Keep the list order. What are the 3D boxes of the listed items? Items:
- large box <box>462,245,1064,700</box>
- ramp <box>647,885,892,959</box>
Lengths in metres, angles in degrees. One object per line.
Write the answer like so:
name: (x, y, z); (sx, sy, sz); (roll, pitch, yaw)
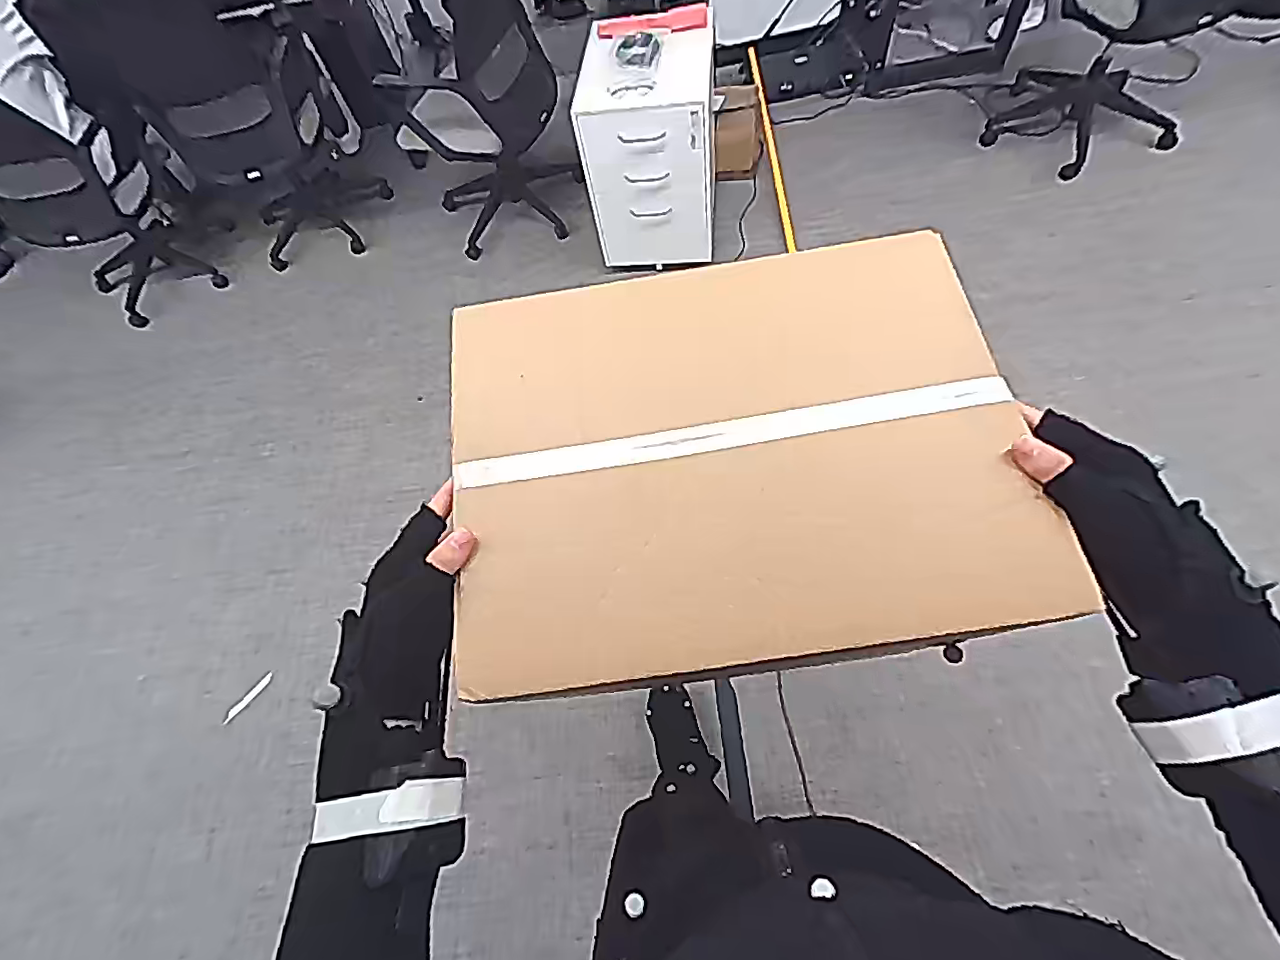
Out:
large box: (0.077, 0.025, 0.548); (0.408, 0.320, 0.320); (-9, 68, 2)
ramp: (0.279, 1.279, 0.853); (0.509, 0.206, 0.991); (-10, 61, 5)
